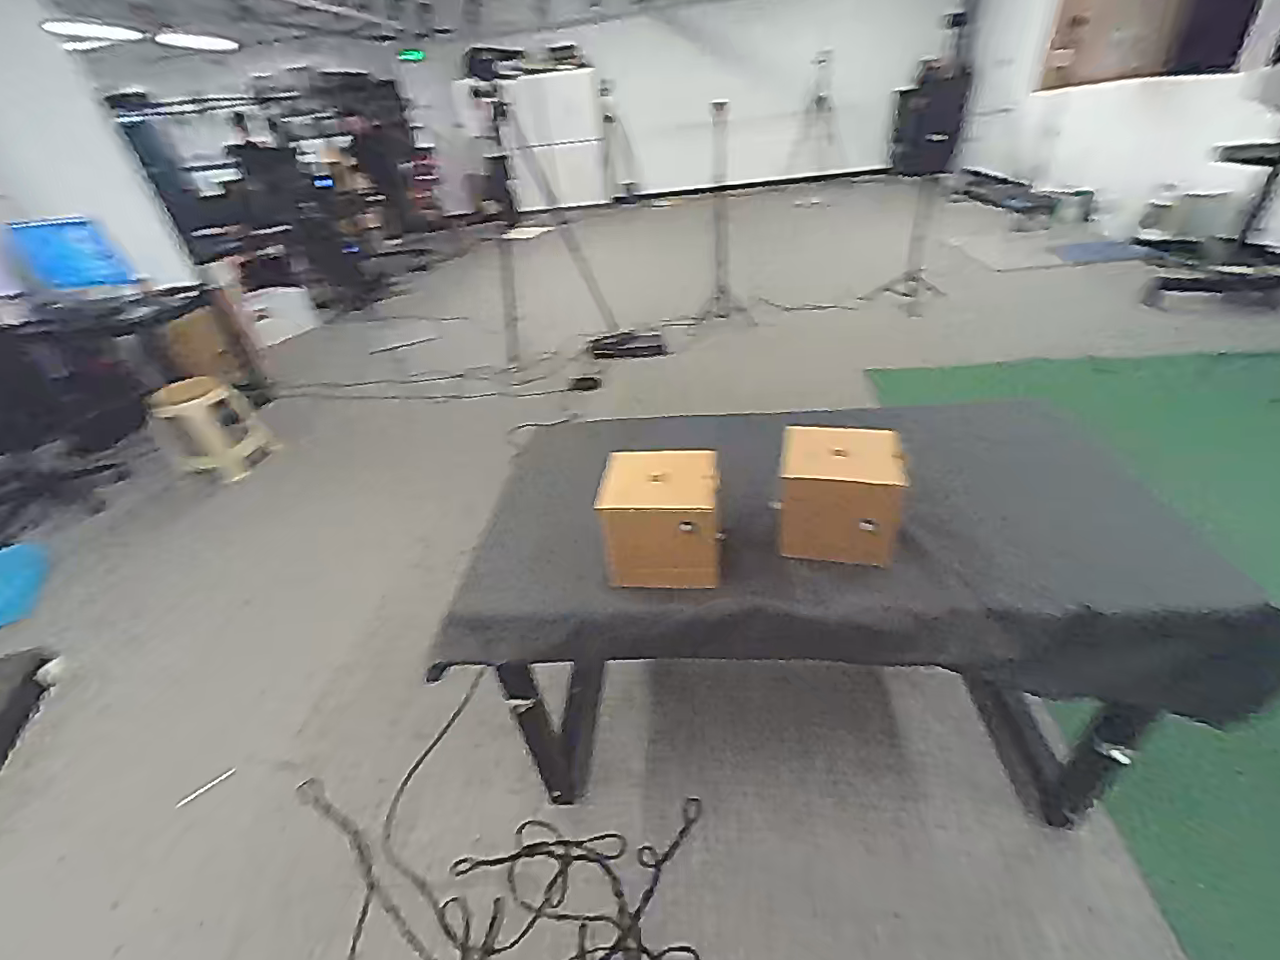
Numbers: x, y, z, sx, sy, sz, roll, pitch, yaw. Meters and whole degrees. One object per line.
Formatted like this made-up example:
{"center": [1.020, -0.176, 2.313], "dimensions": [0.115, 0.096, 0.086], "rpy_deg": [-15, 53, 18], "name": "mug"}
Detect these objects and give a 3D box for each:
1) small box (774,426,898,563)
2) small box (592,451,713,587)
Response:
{"center": [0.324, 0.022, 0.917], "dimensions": [0.179, 0.176, 0.168], "rpy_deg": [2, 34, 17], "name": "small box"}
{"center": [0.030, 0.066, 0.912], "dimensions": [0.179, 0.176, 0.168], "rpy_deg": [-1, 34, 8], "name": "small box"}
